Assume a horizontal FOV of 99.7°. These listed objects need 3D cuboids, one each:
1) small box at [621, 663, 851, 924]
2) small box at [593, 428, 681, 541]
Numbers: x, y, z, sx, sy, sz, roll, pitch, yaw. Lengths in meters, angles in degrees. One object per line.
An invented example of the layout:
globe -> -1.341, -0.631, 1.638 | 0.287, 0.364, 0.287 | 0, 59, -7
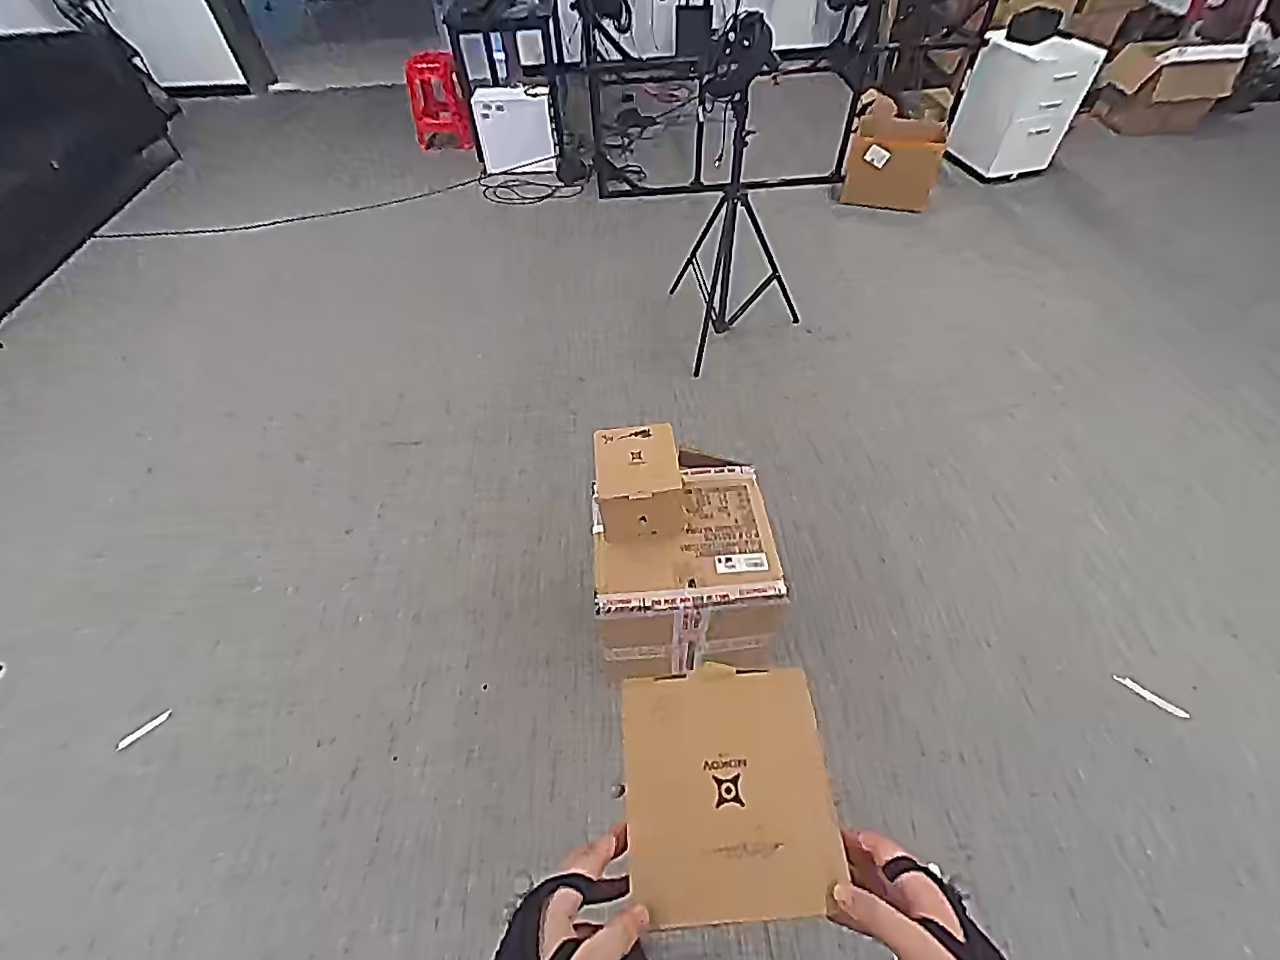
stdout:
small box -> 0.070, 0.285, 0.506 | 0.168, 0.176, 0.179 | -5, 59, -1
small box -> -0.004, 0.016, 1.138 | 0.168, 0.176, 0.179 | -6, 55, -1
